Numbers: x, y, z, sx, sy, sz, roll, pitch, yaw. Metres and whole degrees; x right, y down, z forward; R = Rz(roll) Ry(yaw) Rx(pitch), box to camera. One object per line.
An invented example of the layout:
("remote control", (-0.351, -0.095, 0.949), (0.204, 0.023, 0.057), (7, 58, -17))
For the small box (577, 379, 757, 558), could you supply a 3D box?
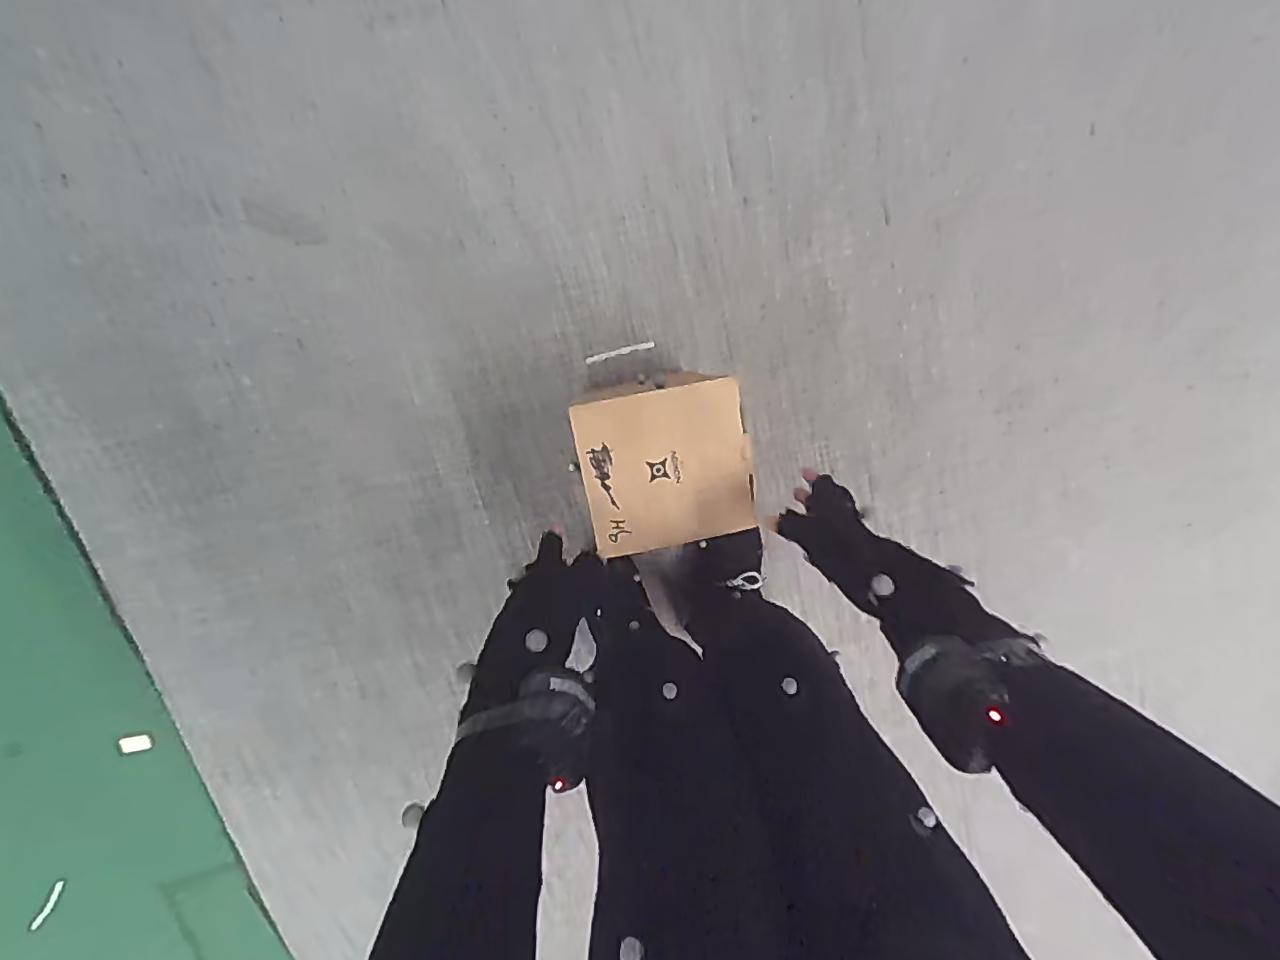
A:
("small box", (0.024, -0.025, 0.643), (0.179, 0.176, 0.168), (-10, 102, -3))
